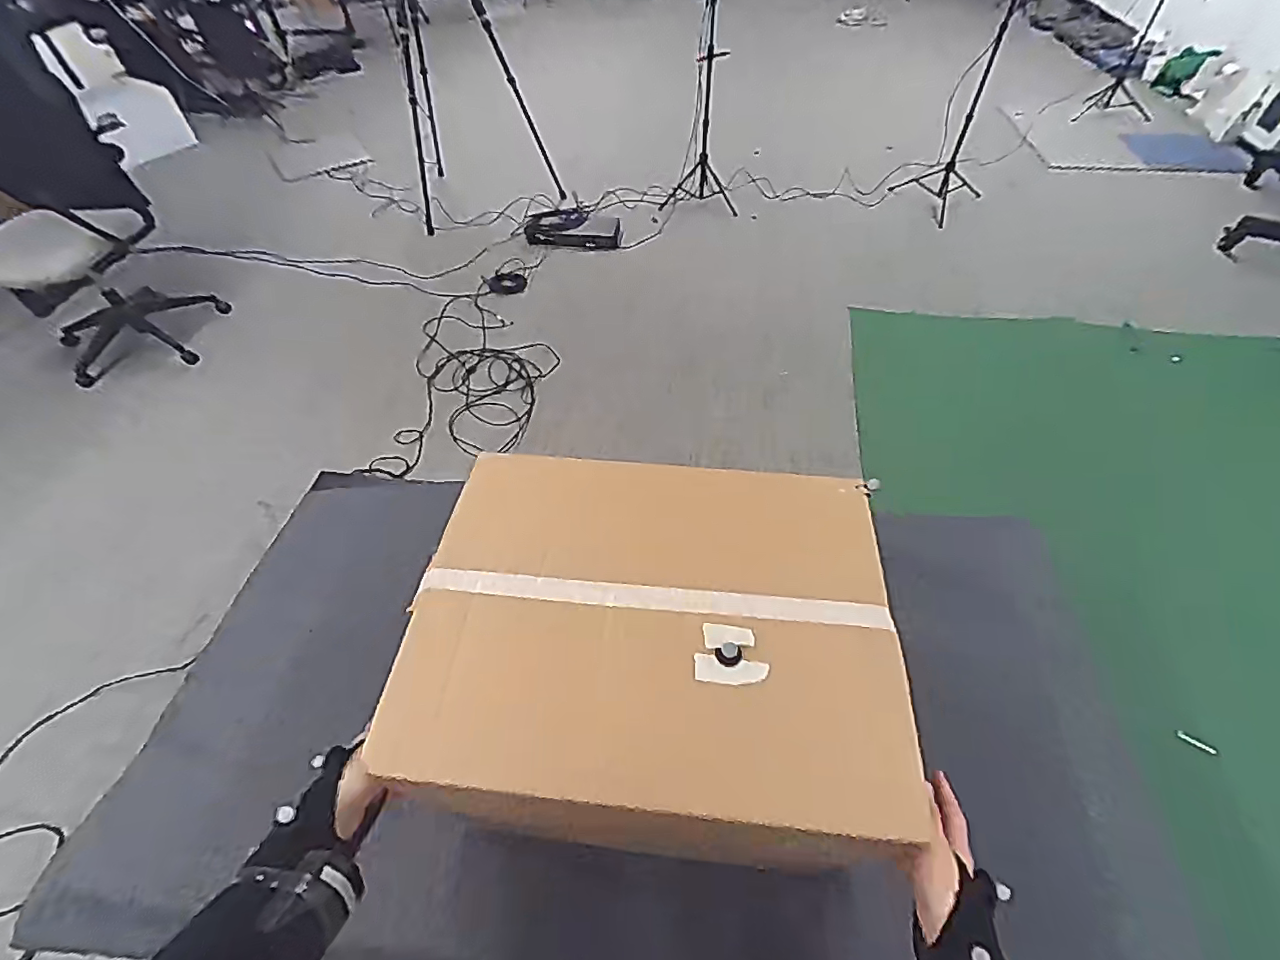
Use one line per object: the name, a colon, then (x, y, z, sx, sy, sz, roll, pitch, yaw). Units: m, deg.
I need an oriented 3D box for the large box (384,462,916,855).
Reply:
large box: (0.015, 0.202, 0.604, 0.408, 0.320, 0.320, 4, 52, 4)
